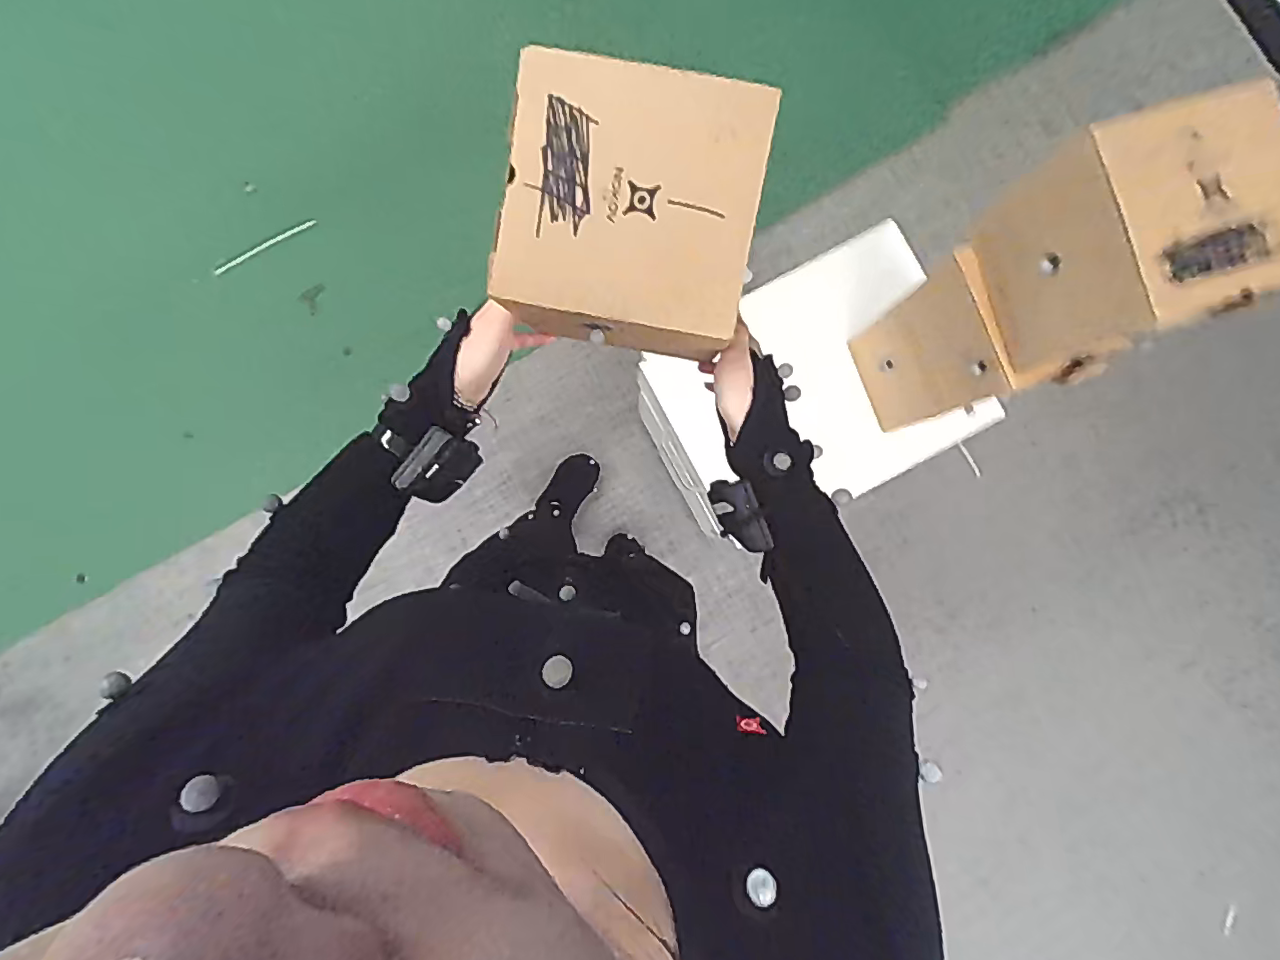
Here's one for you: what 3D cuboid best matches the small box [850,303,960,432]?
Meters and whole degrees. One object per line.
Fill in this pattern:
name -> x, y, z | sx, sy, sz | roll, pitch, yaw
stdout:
small box -> 0.462, -0.193, 0.857 | 0.168, 0.176, 0.179 | -21, 87, -1

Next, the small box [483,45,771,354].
small box -> -0.009, -0.205, 0.447 | 0.179, 0.176, 0.168 | 10, 97, 0

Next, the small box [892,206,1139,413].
small box -> 0.459, -0.204, 0.694 | 0.168, 0.176, 0.179 | -21, 87, -2
